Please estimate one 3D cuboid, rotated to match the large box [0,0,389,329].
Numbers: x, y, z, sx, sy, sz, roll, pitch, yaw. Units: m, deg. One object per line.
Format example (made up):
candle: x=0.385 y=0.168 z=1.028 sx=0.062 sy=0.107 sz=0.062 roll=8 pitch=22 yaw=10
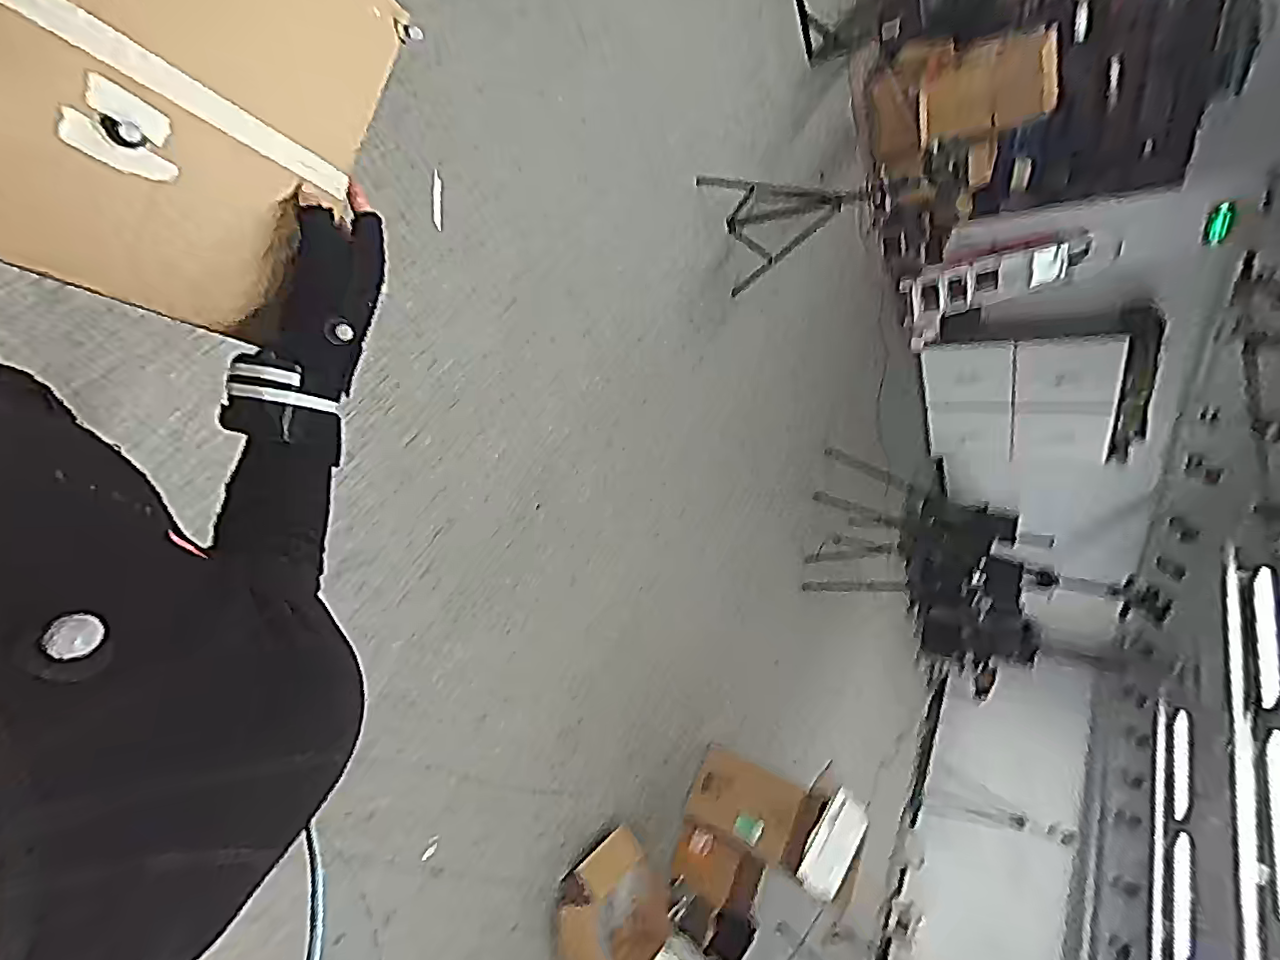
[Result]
large box: x=-0.490 y=-0.354 z=0.397 sx=0.408 sy=0.320 sz=0.320 roll=14 pitch=101 yaw=-56
